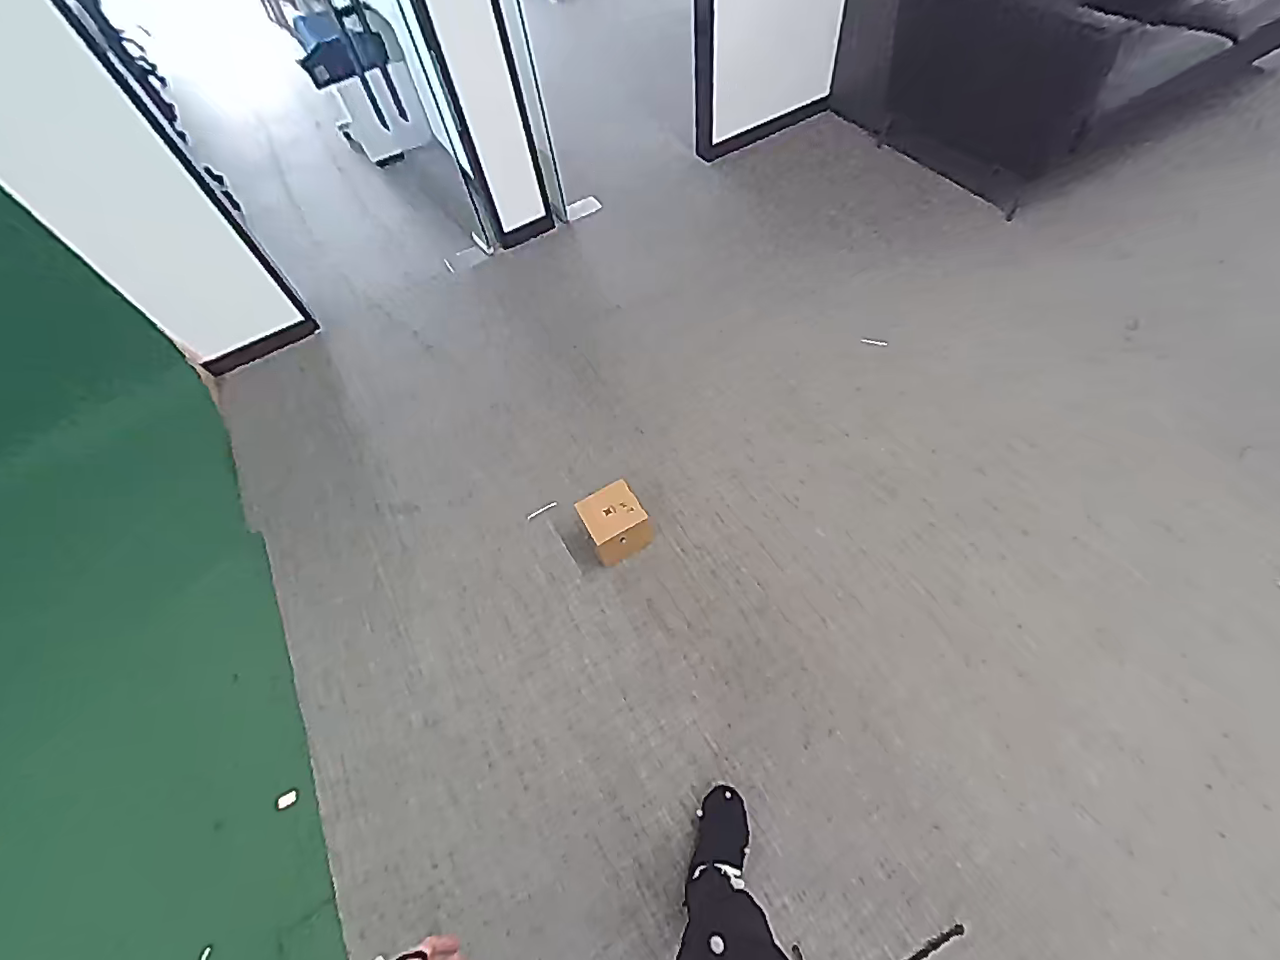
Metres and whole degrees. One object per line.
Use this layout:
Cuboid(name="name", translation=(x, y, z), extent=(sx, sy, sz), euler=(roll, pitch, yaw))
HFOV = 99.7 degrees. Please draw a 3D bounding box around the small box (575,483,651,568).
Cuboid(name="small box", translation=(-0.080, 0.148, 1.694), extent=(0.179, 0.176, 0.168), euler=(-27, 59, -12))
